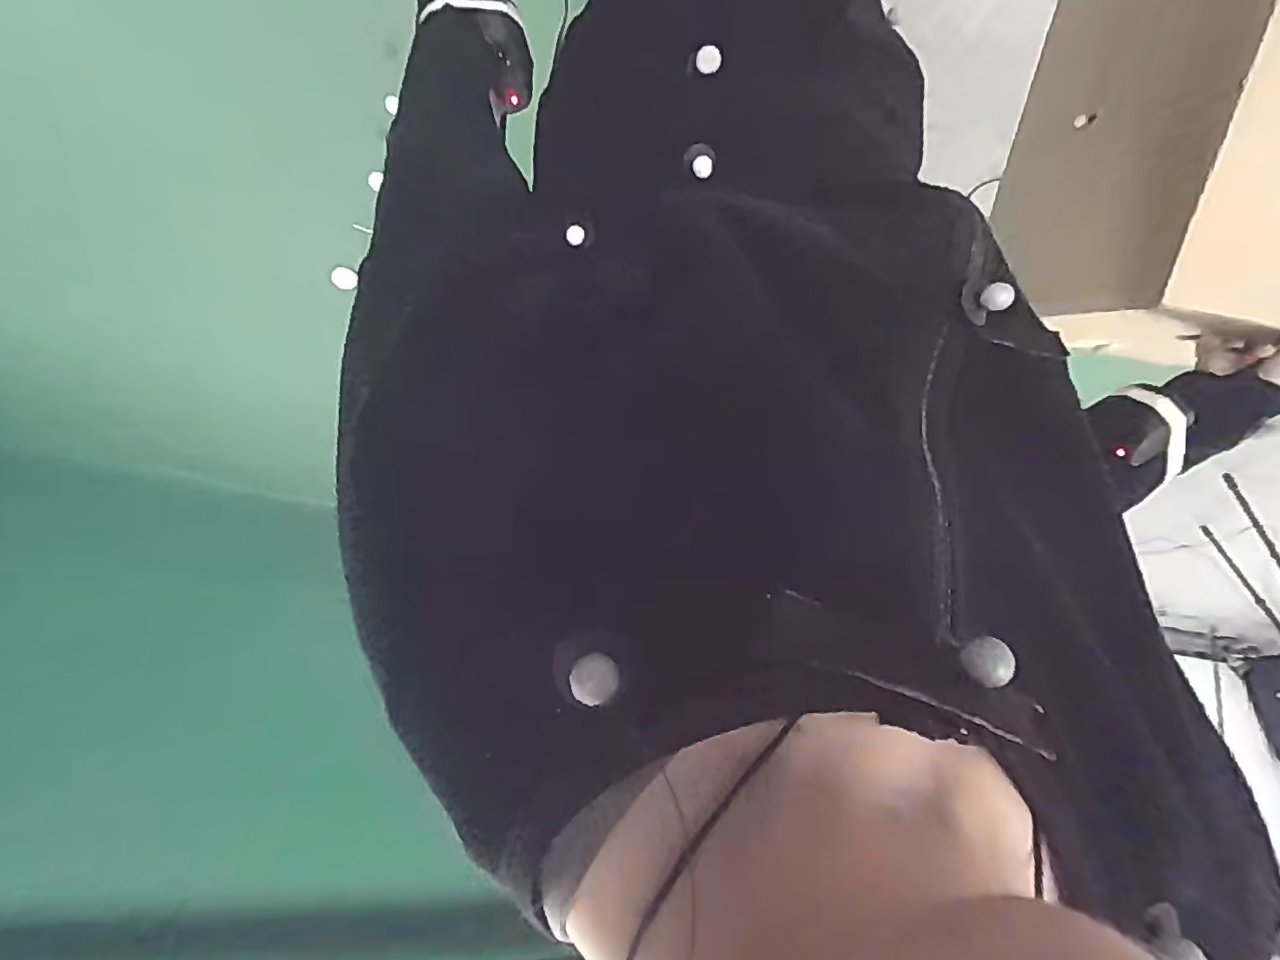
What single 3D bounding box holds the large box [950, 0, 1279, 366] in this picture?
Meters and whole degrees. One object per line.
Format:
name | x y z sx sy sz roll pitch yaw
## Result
large box | 0.611 -0.346 0.578 0.320 0.408 0.320 11 -167 -3
